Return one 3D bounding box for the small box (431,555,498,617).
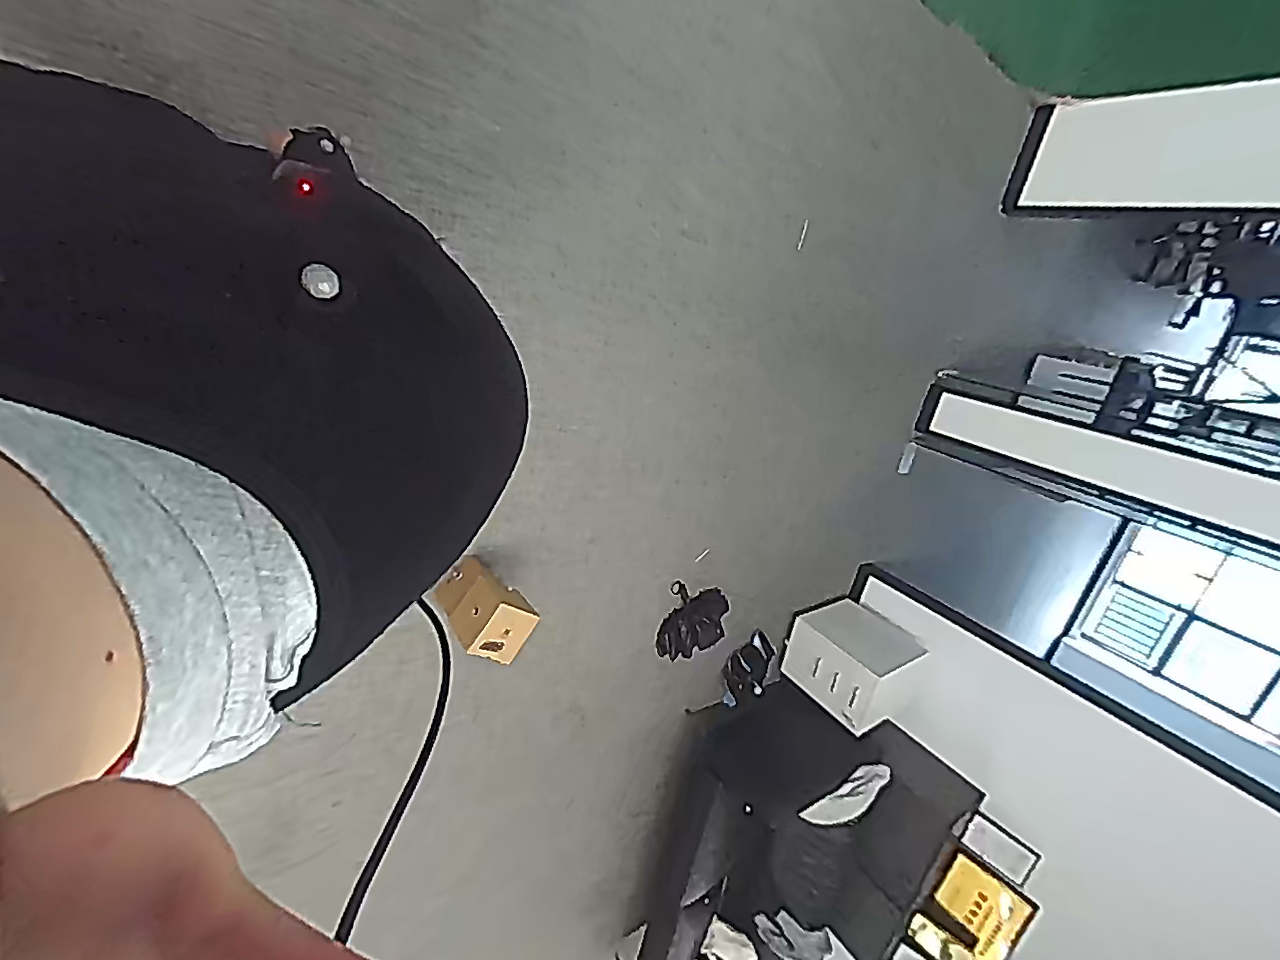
[{"bbox_3d":[-0.556,0.377,1.788,0.168,0.176,0.179,-46,132,-11],"label":"small box"}]

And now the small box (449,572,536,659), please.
[{"bbox_3d":[-0.460,0.414,1.657,0.168,0.176,0.179,37,86,-44],"label":"small box"}]
